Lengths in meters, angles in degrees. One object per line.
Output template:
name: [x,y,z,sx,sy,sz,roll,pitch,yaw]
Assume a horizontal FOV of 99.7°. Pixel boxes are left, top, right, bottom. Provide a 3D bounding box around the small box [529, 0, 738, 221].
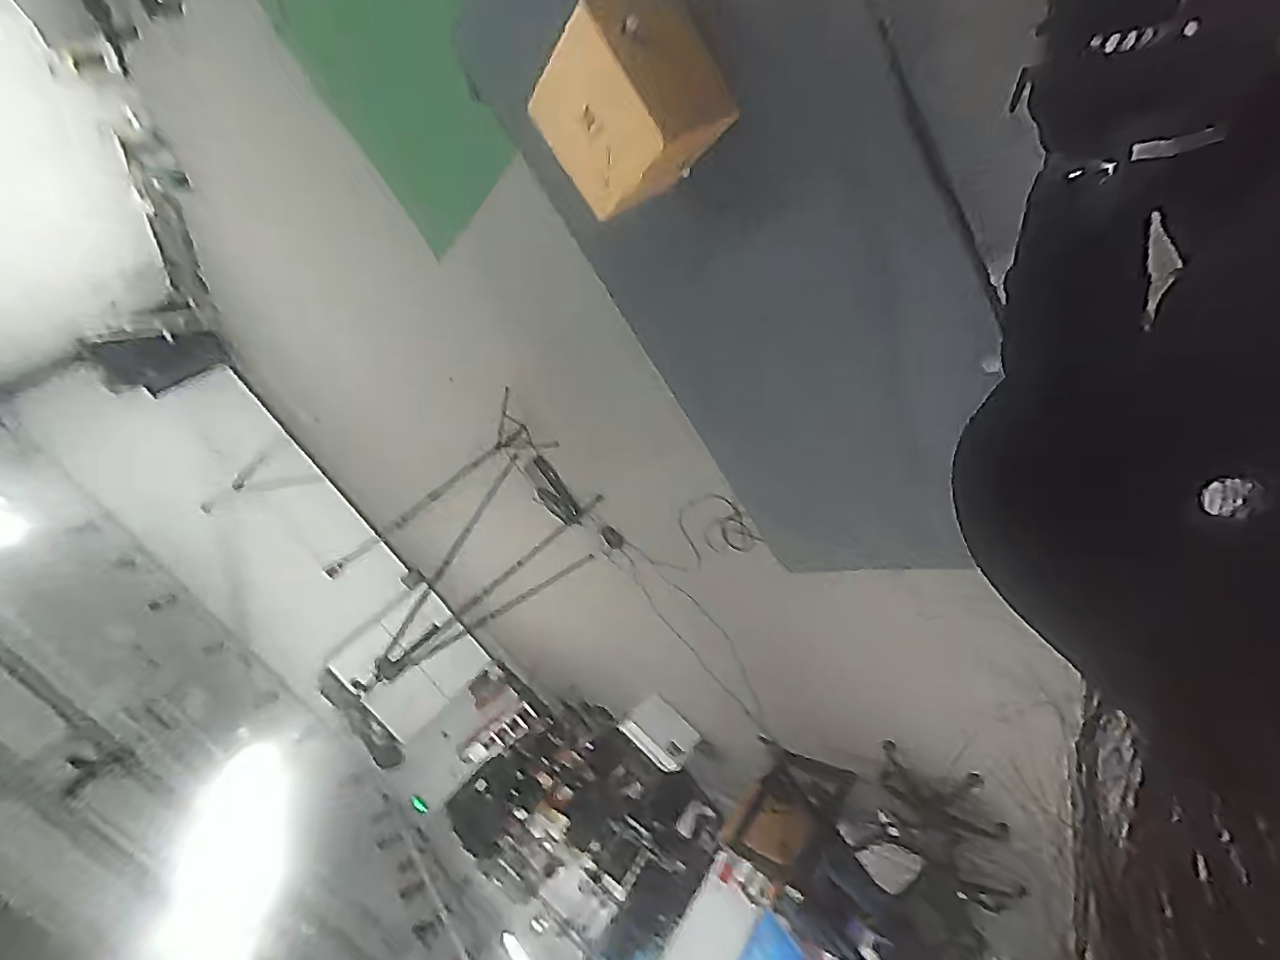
small box: [-0.007,-0.489,0.715,0.179,0.176,0.168,54,148,-13]
